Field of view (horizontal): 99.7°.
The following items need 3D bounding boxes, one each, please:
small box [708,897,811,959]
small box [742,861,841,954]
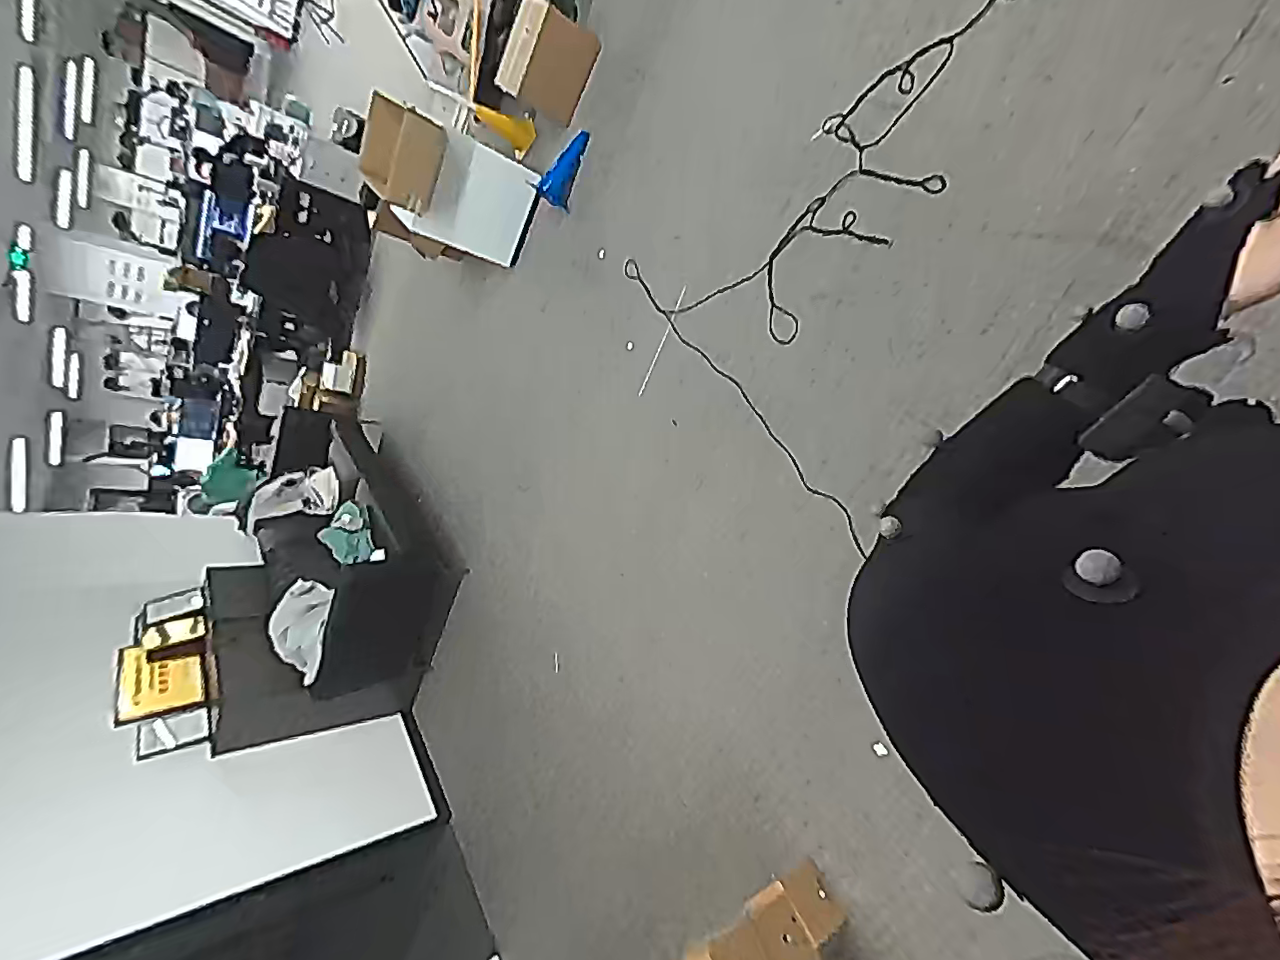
[{"bbox_3d":[0.321,1.241,1.415,0.179,0.176,0.168,-53,52,28],"label":"small box"},{"bbox_3d":[0.433,1.232,1.534,0.179,0.176,0.168,-56,50,26],"label":"small box"}]
